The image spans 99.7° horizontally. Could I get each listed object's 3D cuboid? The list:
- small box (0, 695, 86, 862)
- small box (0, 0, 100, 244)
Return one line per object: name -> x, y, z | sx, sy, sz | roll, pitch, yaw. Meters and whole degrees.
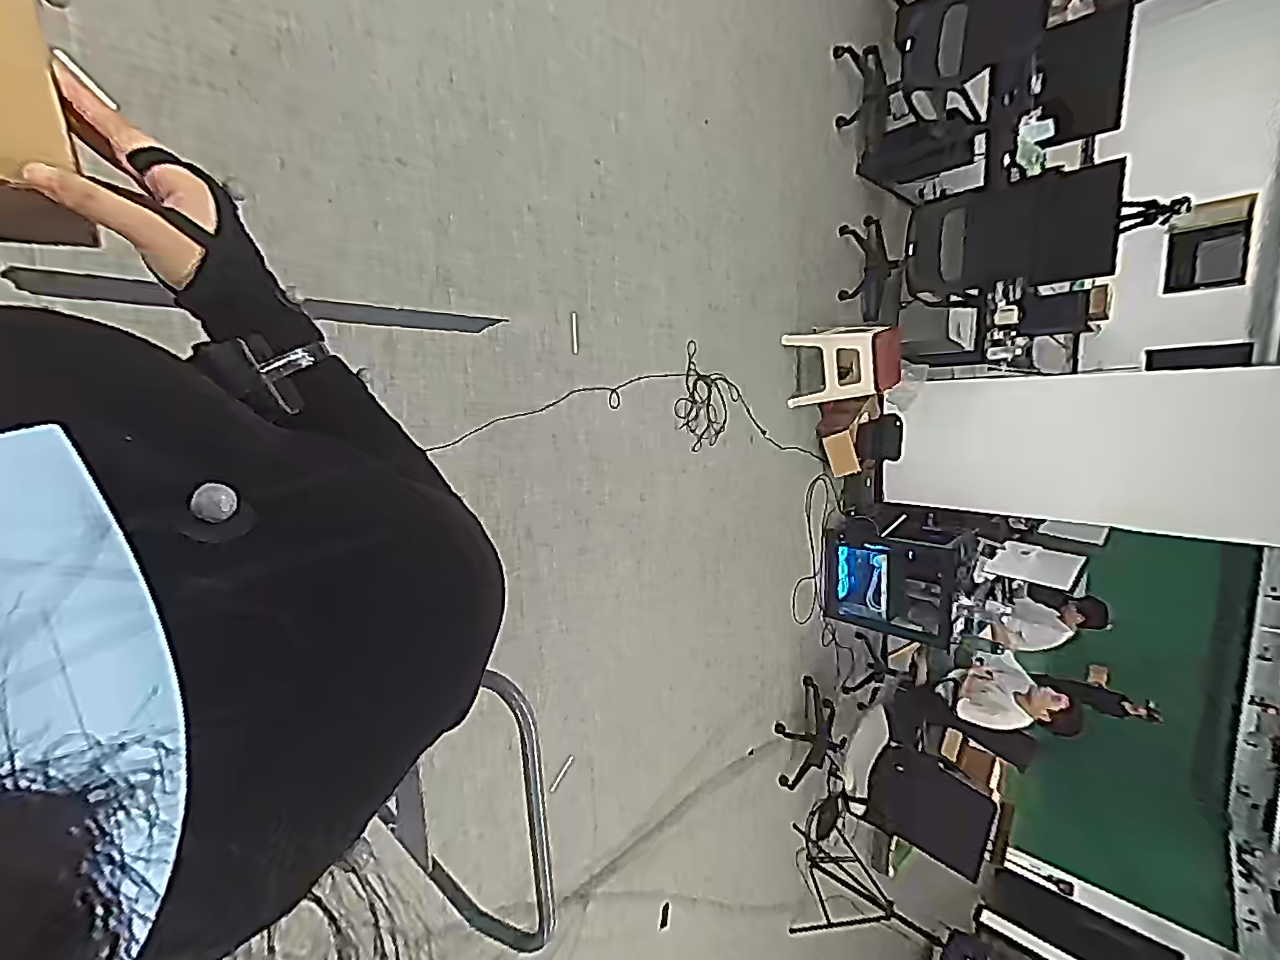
small box -> -1.000, 0.472, 0.846 | 0.168, 0.176, 0.179 | -12, 103, -44
small box -> -0.454, -0.256, 0.318 | 0.168, 0.176, 0.179 | -13, 105, -40
